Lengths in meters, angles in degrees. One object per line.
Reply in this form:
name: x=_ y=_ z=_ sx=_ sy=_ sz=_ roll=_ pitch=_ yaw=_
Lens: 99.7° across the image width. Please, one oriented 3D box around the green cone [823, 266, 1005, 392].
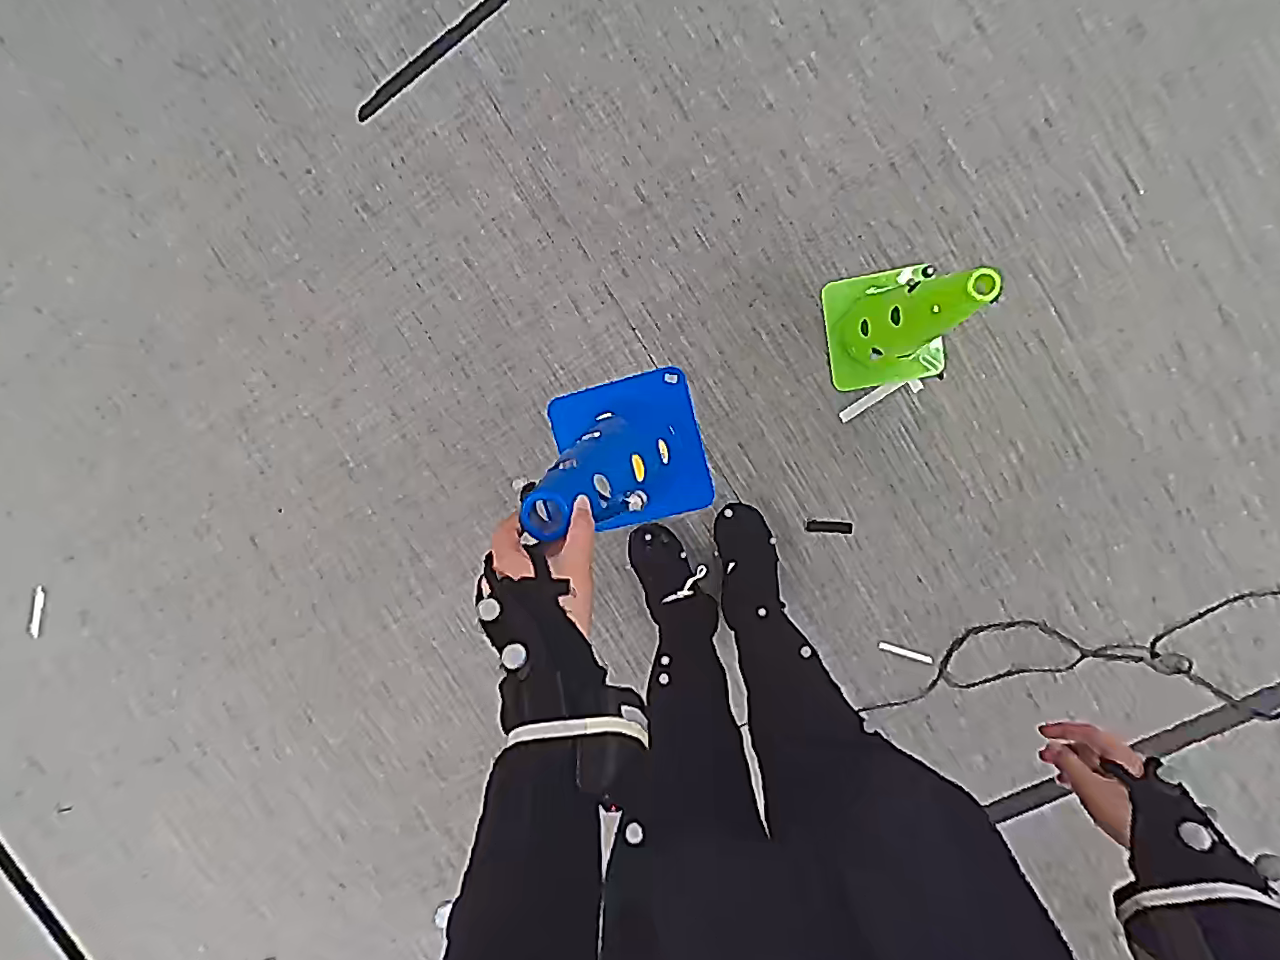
green cone: x=0.427 y=-0.249 z=0.818 sx=0.200 sy=0.368 sz=0.202 roll=-10 pitch=97 yaw=7
